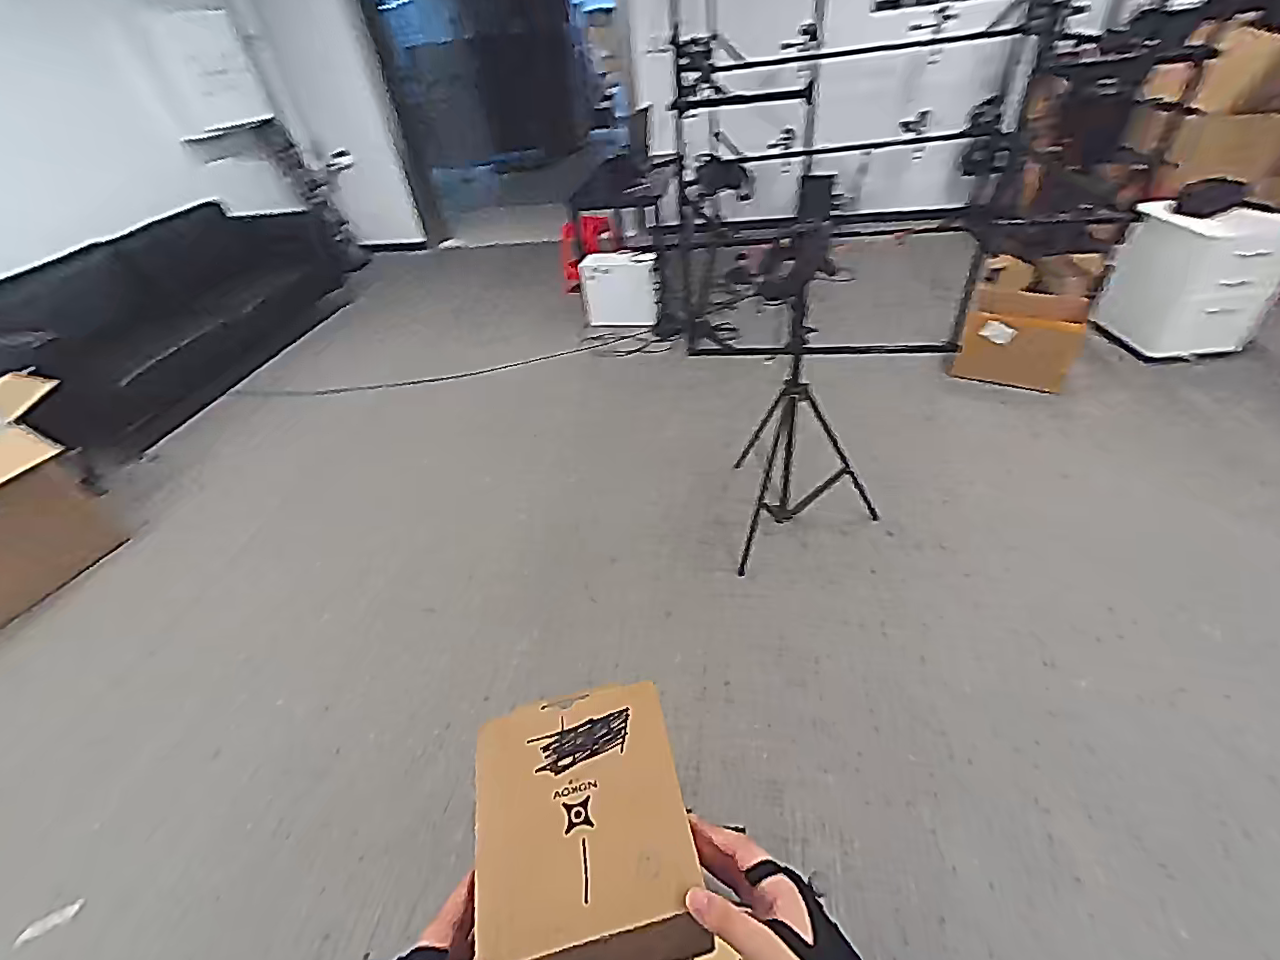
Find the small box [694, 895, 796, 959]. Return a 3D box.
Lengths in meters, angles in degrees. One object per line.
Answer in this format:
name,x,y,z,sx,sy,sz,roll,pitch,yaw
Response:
small box,0.175,0.840,0.914,0.168,0.176,0.179,0,41,10

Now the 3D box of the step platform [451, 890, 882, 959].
step platform,0.037,0.835,0.888,0.684,0.204,0.286,1,40,10

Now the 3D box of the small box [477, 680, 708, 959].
small box,-0.042,0.319,0.490,0.168,0.176,0.179,-14,41,-6
